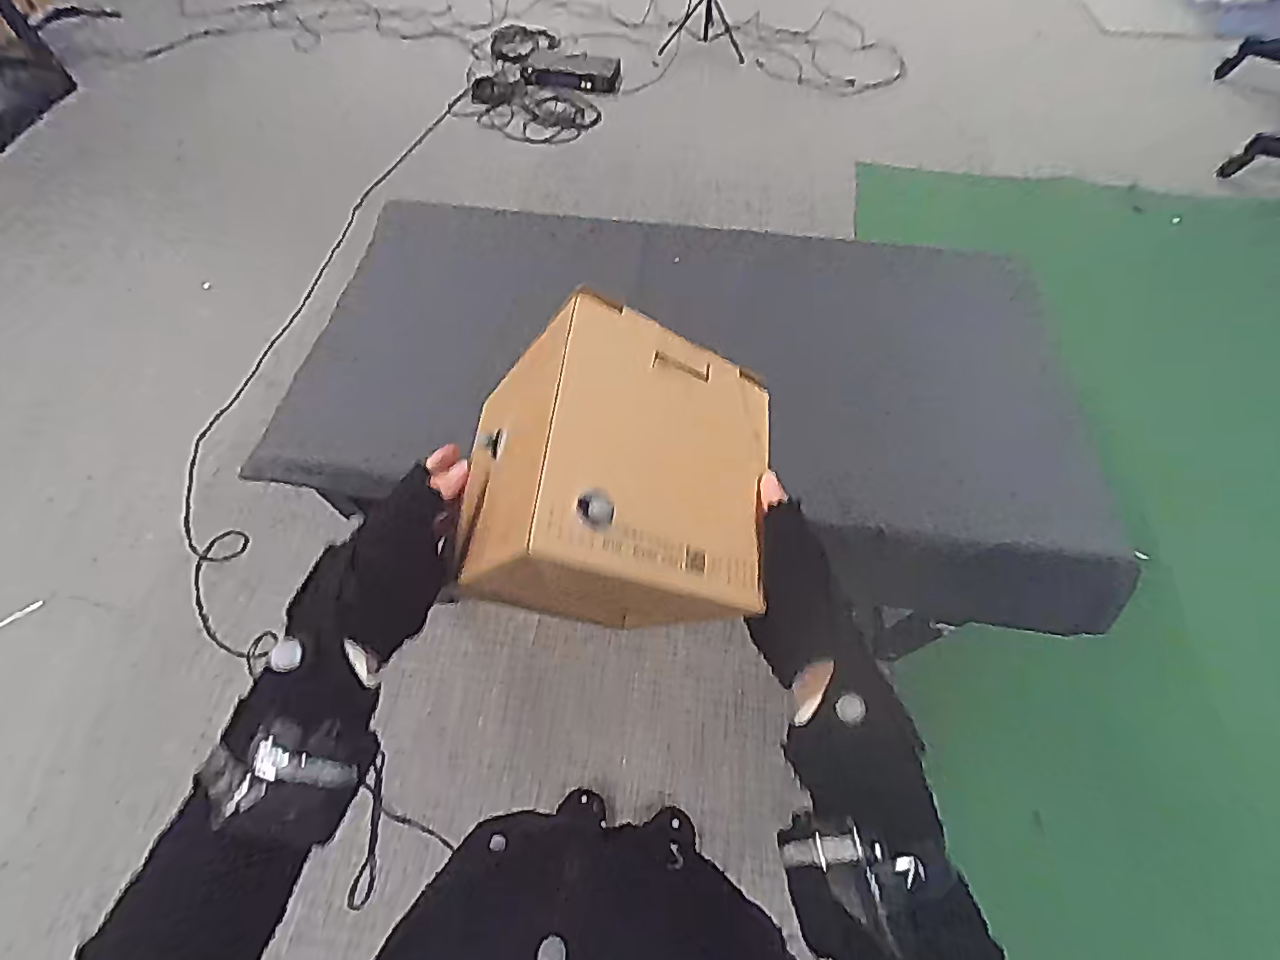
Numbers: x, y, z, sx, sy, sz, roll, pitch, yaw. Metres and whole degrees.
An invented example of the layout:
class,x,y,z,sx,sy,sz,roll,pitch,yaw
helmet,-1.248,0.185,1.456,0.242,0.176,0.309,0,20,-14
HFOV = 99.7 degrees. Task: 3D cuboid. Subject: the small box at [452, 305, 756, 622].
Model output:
class,x,y,z,sx,sy,sz,roll,pitch,yaw
small box,-0.027,0.008,0.420,0.168,0.179,0.176,21,60,-27
